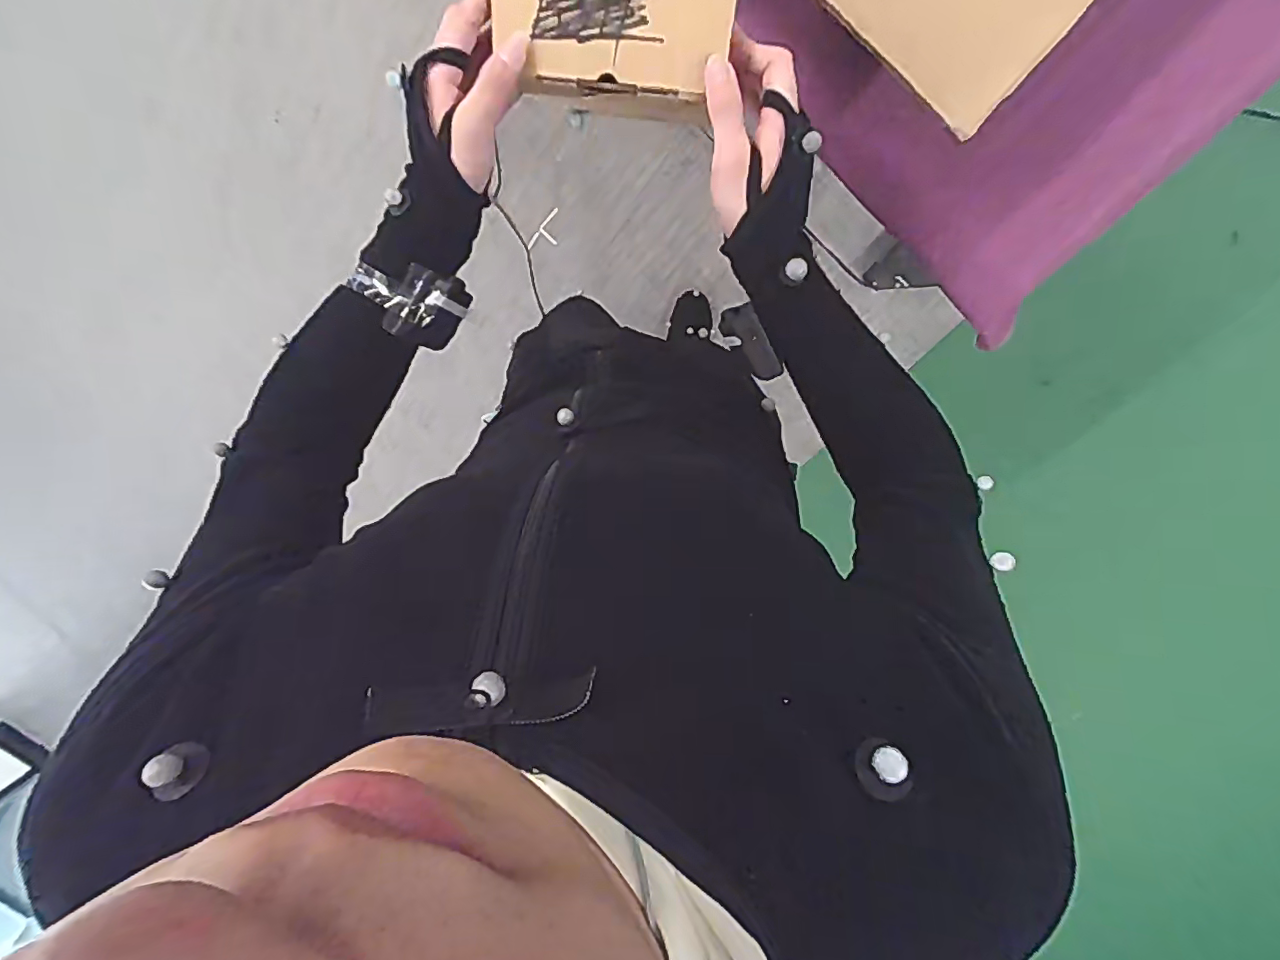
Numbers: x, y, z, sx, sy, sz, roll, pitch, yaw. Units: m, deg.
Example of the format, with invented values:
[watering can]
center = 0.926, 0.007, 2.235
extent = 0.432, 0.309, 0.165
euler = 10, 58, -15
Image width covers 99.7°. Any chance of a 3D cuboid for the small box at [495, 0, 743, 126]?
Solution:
[small box]
center = -0.002, -0.386, 0.410
extent = 0.168, 0.176, 0.179
euler = 8, 117, 2
